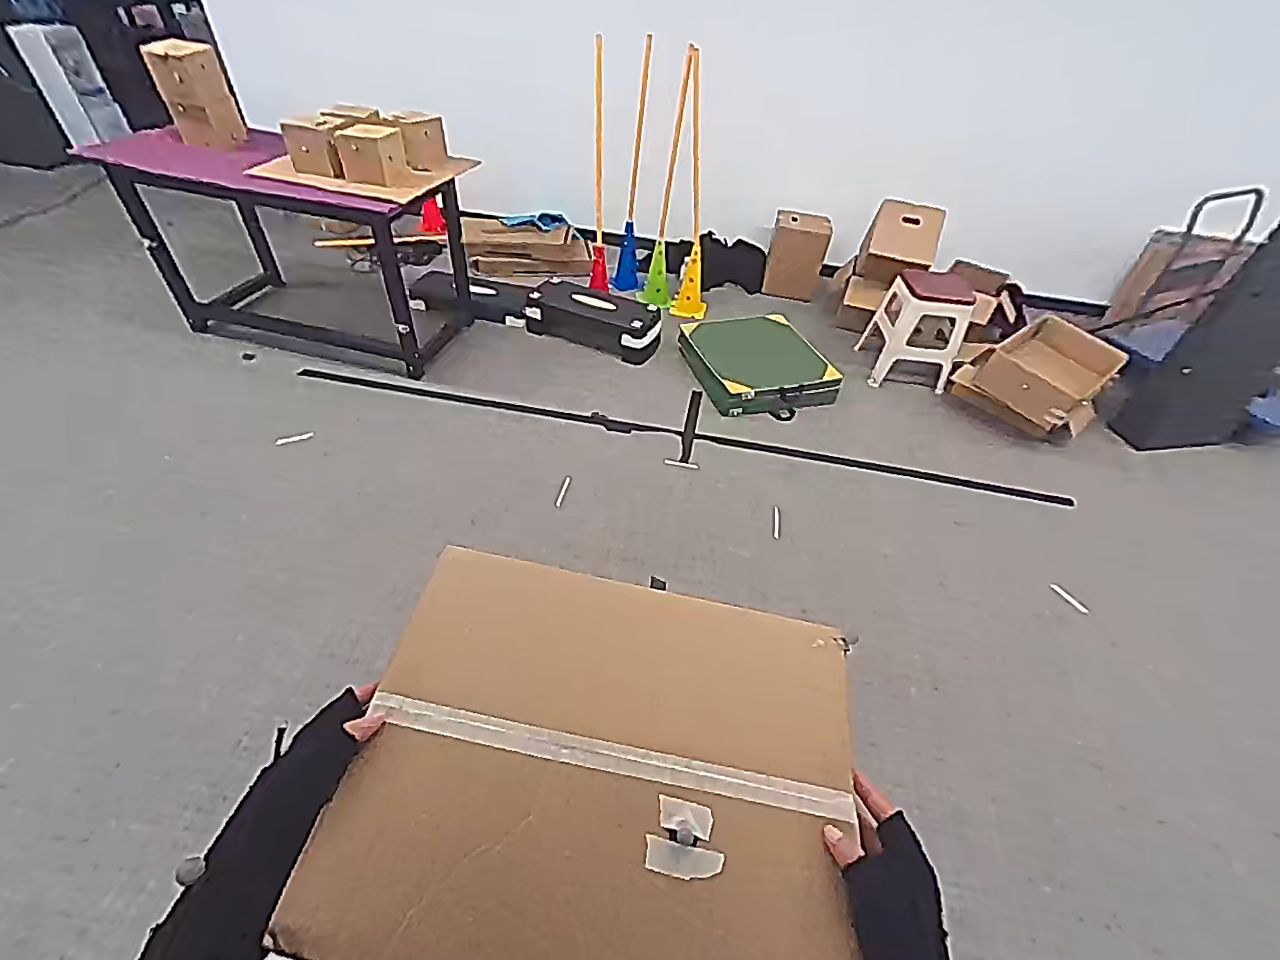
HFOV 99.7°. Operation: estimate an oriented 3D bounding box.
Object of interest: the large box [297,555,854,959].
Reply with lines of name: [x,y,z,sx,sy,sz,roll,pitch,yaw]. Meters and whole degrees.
large box: [-0.040,0.319,0.578,0.408,0.320,0.320,12,53,0]
